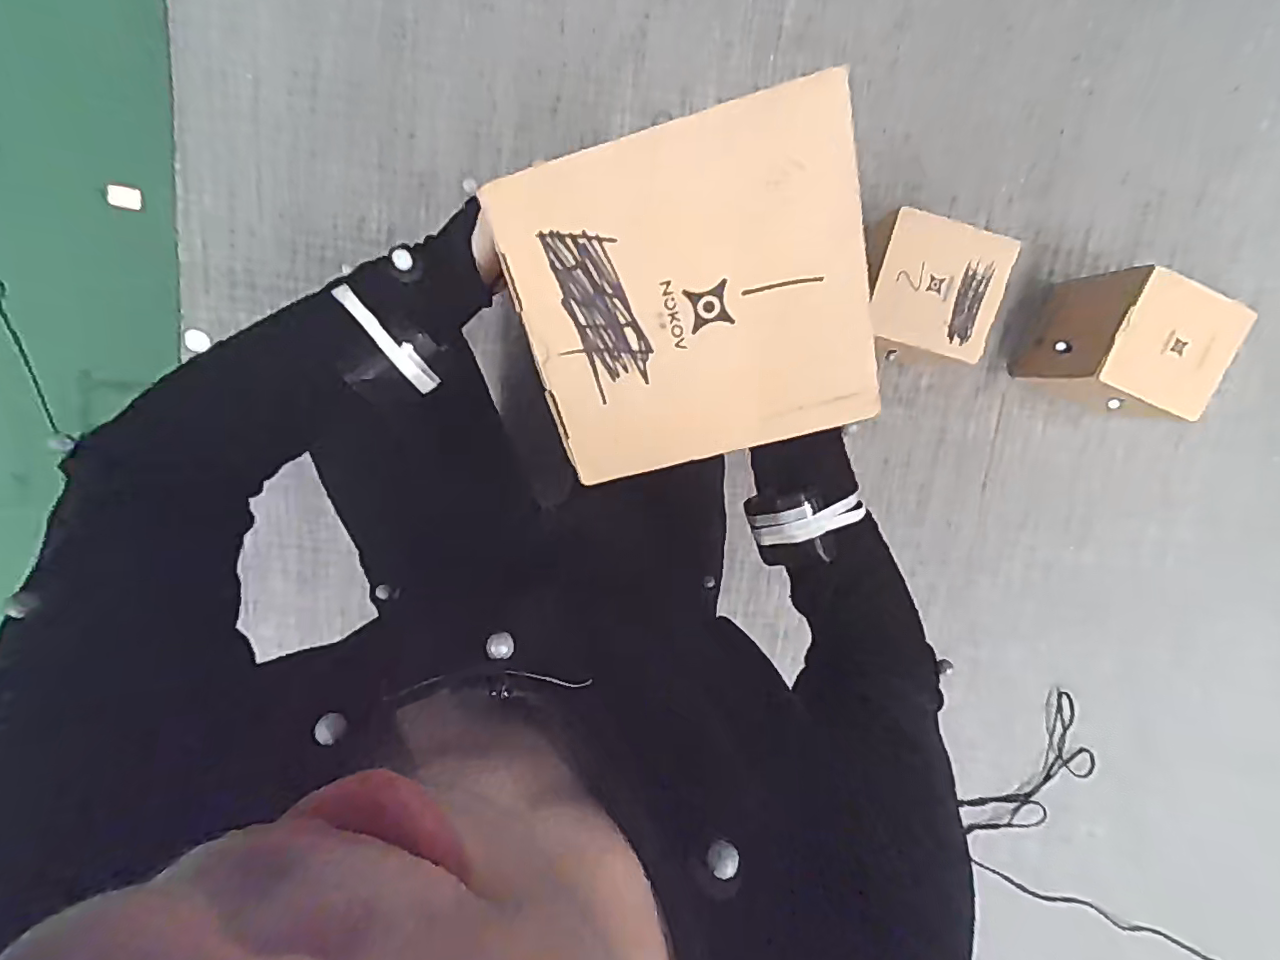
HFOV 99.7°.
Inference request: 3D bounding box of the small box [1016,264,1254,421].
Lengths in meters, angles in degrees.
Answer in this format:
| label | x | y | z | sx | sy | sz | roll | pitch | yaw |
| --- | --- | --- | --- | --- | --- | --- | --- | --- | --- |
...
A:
| label | x | y | z | sx | sy | sz | roll | pitch | yaw |
| --- | --- | --- | --- | --- | --- | --- | --- | --- | --- |
| small box | 0.734 | -0.202 | 0.826 | 0.179 | 0.176 | 0.168 | 21 | 100 | -7 |
